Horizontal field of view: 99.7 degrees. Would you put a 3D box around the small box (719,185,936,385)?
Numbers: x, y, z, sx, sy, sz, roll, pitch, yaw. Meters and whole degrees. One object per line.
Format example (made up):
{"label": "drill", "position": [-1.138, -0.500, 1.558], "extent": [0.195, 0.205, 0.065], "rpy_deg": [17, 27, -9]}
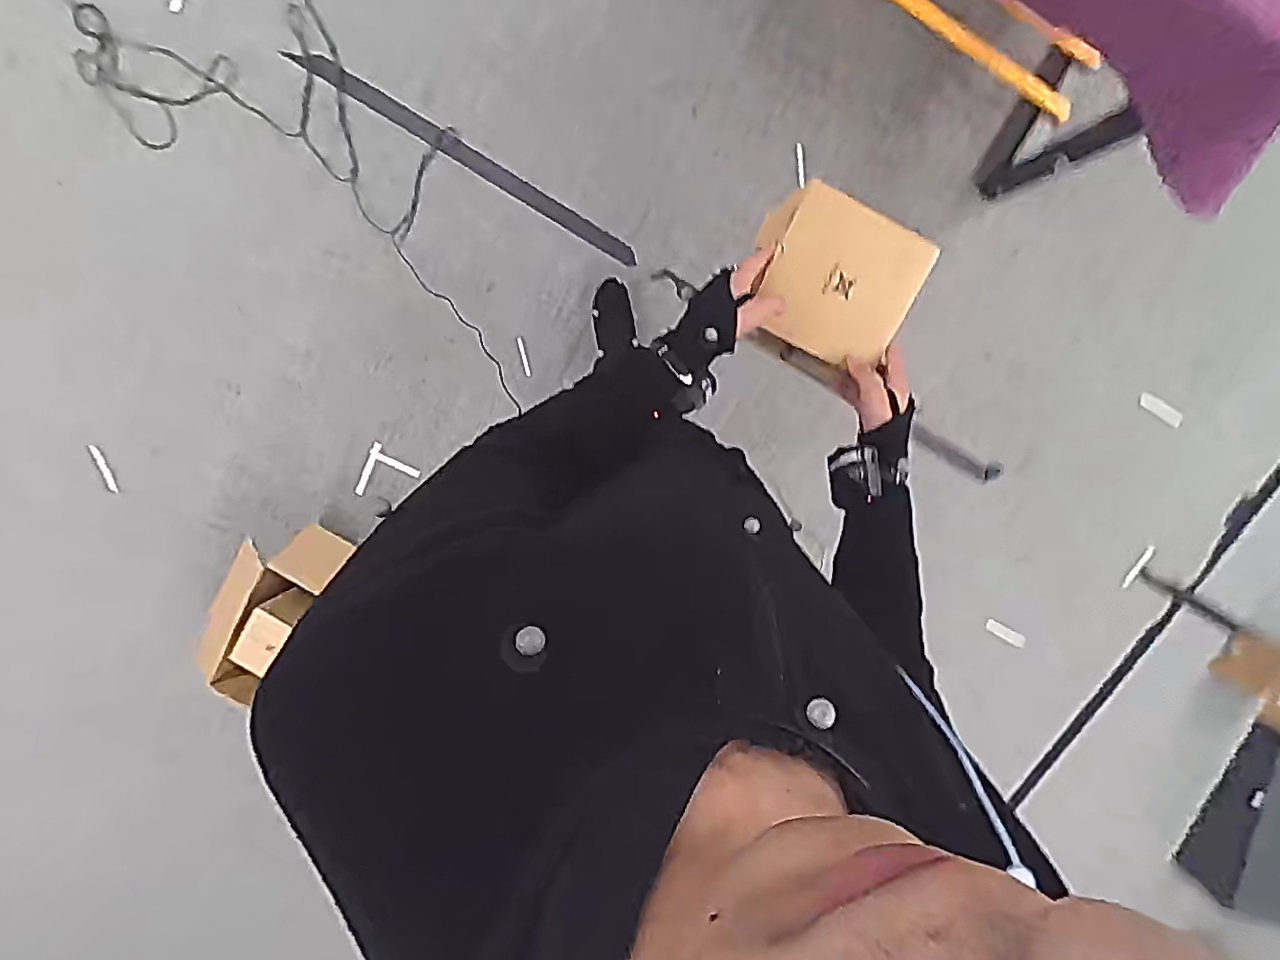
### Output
{"label": "small box", "position": [0.223, -0.240, 0.696], "extent": [0.179, 0.176, 0.168], "rpy_deg": [24, 102, -7]}
